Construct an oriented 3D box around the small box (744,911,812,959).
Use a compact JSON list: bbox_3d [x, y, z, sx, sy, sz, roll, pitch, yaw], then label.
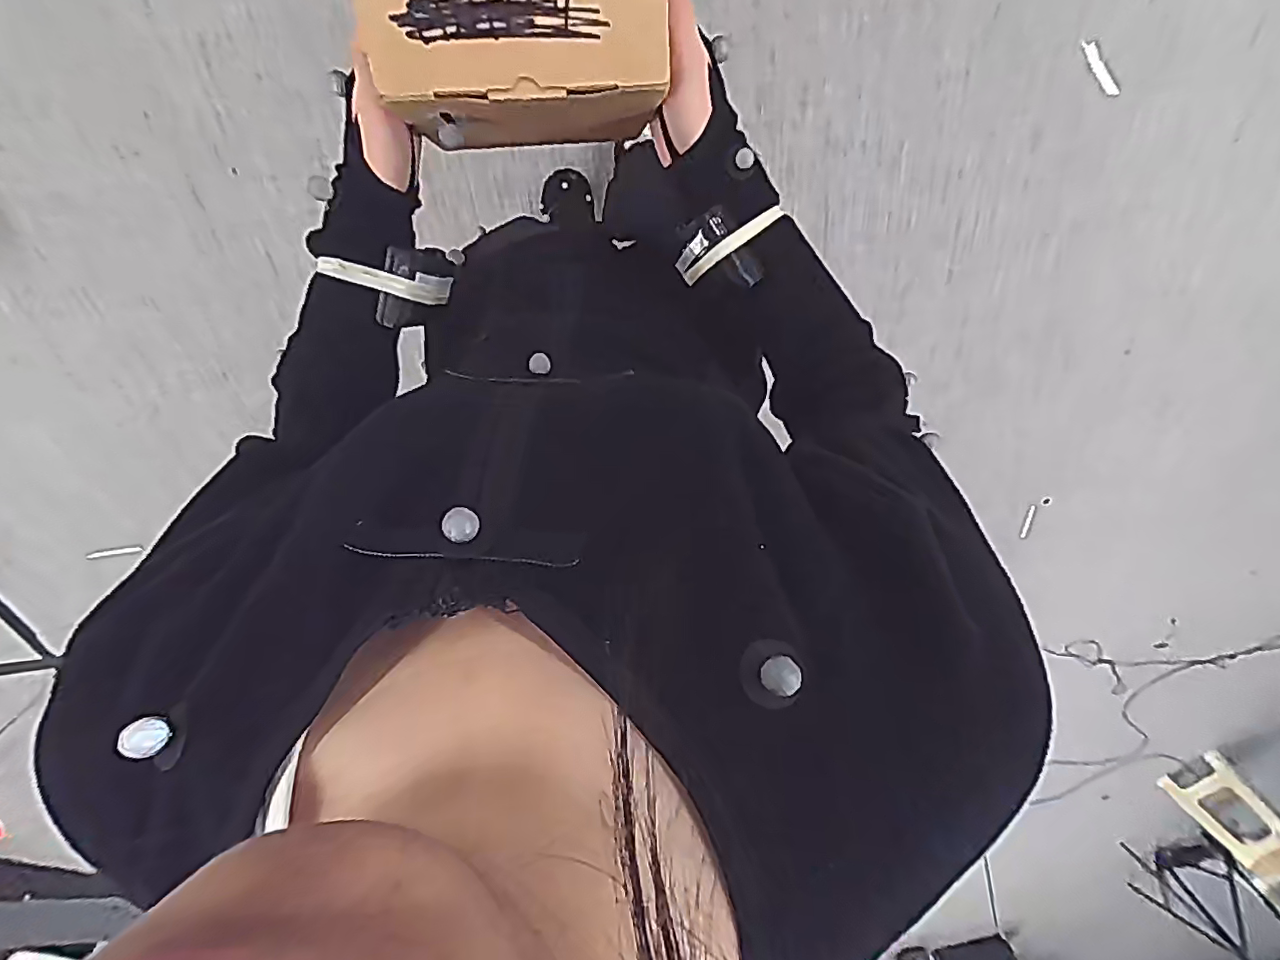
[{"bbox_3d":[0.410,1.422,1.603,0.179,0.176,0.168,-11,123,-1],"label":"small box"}]
